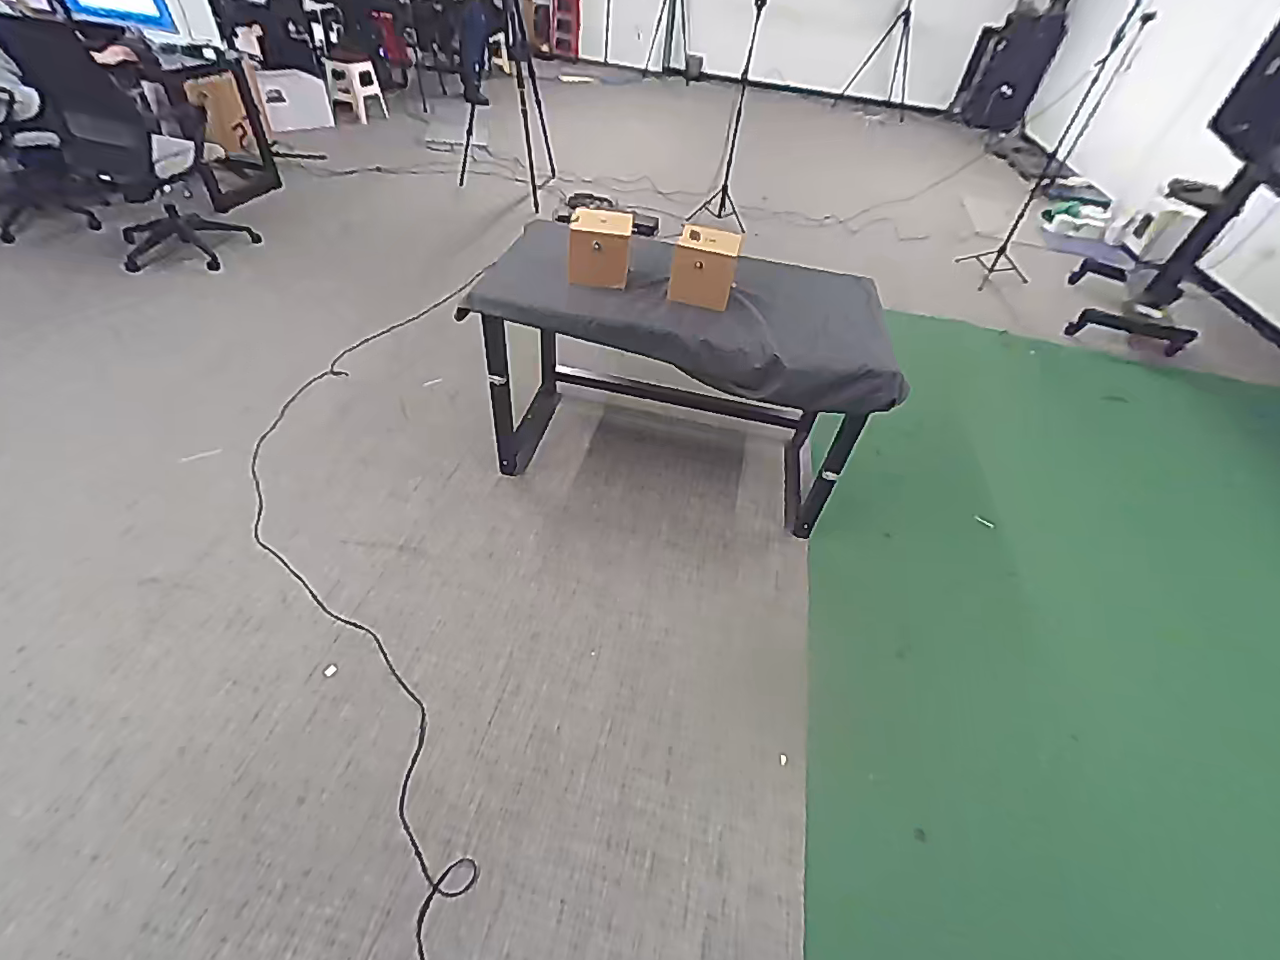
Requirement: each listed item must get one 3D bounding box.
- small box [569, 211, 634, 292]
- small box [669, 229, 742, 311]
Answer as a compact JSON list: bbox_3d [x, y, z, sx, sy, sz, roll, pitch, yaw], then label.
[{"bbox_3d":[-0.117,-0.689,1.634,0.179,0.176,0.168,6,46,-3],"label":"small box"},{"bbox_3d":[0.191,-0.622,1.608,0.179,0.176,0.168,14,45,5],"label":"small box"}]
